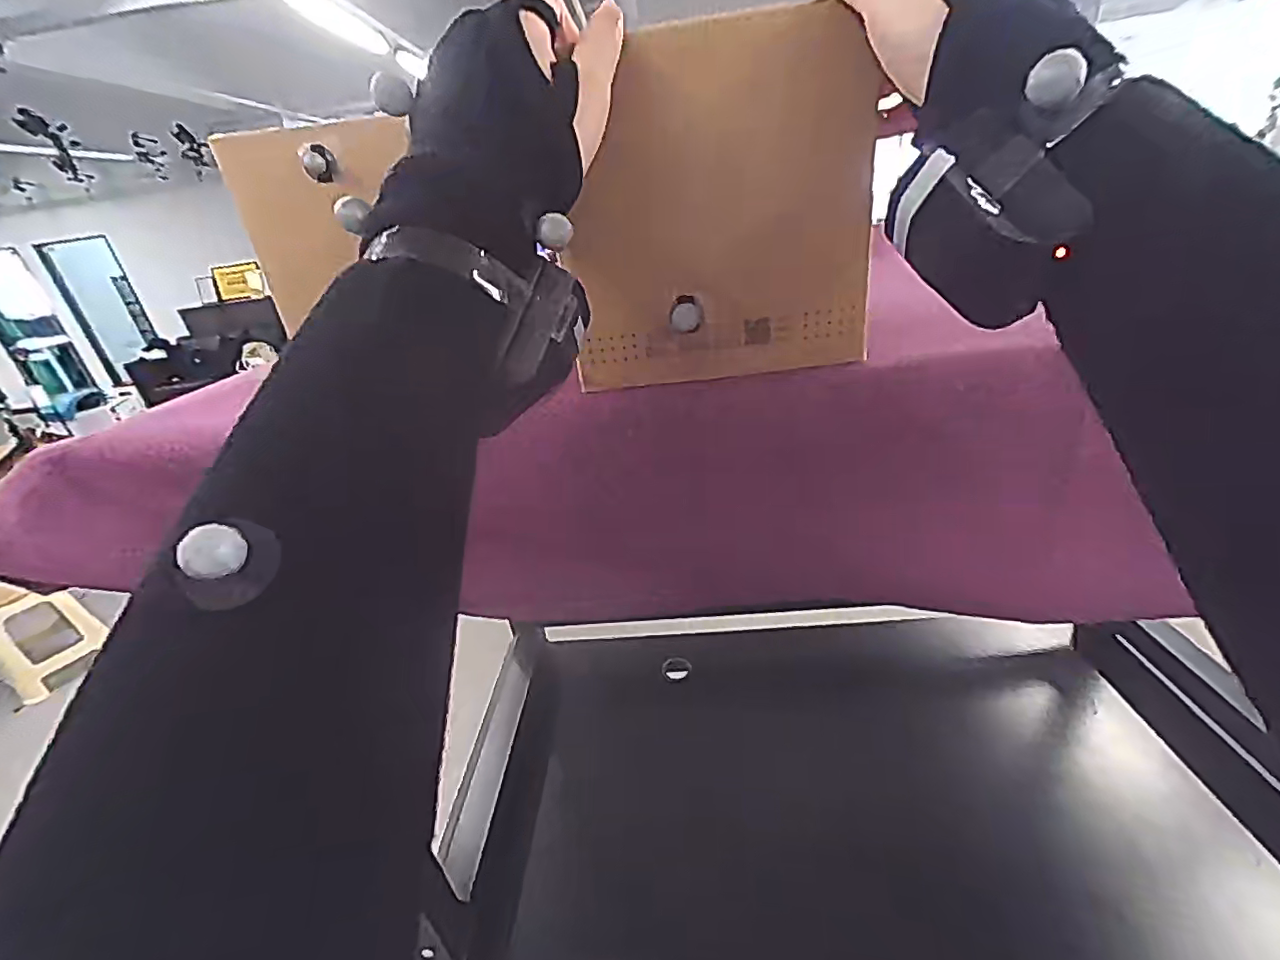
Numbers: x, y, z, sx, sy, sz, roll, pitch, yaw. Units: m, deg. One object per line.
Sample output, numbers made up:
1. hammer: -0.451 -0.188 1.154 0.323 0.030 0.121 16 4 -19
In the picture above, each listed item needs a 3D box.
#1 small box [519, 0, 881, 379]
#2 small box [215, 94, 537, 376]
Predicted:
1. small box: 0.037 -0.173 0.349 0.168 0.176 0.179 -7 27 5
2. small box: -0.187 -0.195 0.453 0.168 0.176 0.179 -10 26 -1
